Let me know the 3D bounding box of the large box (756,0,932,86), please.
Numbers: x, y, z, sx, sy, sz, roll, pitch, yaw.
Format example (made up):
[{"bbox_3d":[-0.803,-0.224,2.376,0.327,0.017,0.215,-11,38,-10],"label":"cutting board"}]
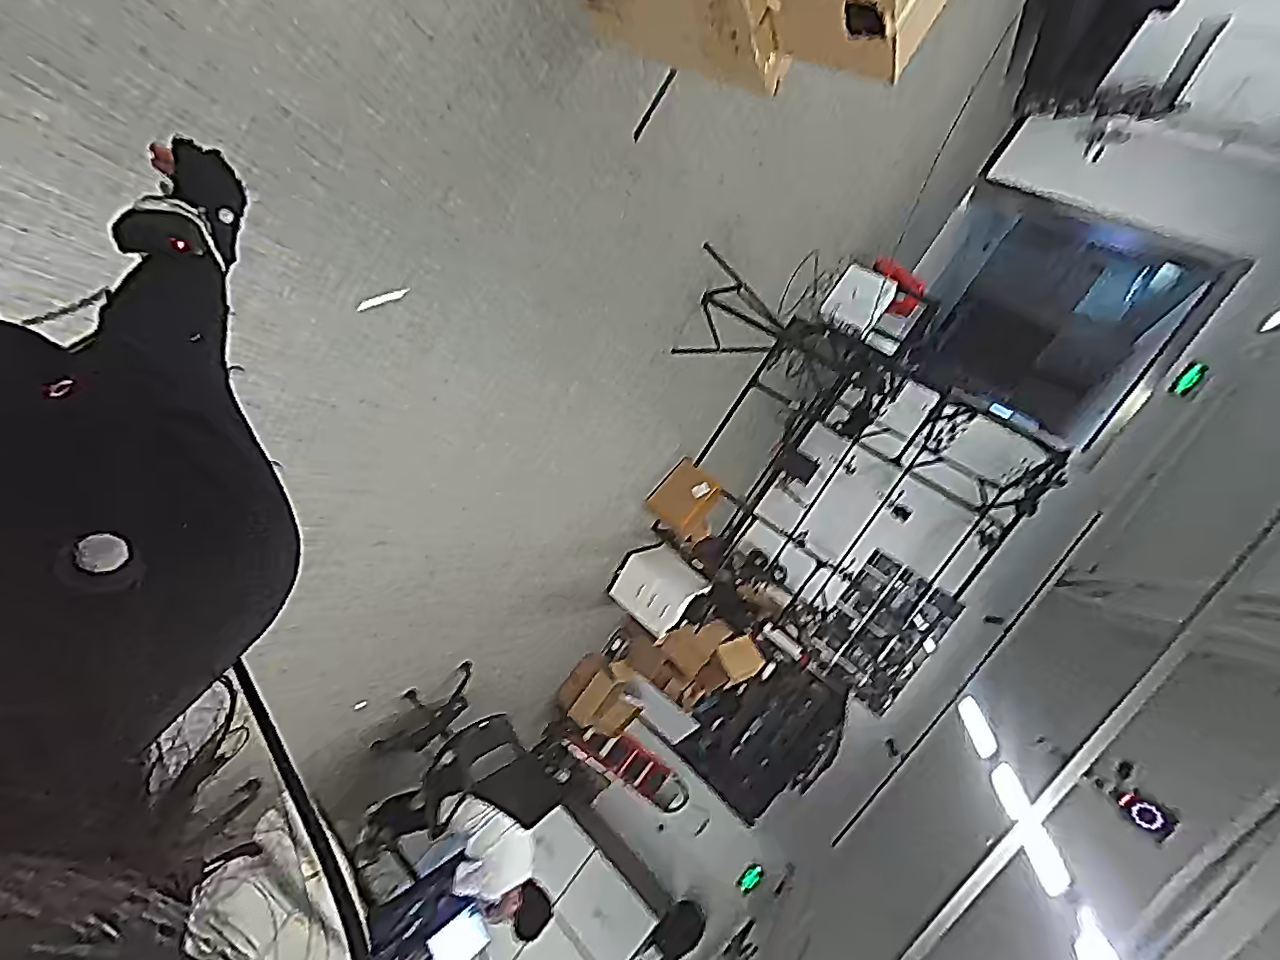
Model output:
[{"bbox_3d":[0.479,-1.166,1.132,0.408,0.320,0.320,-57,156,9],"label":"large box"}]
